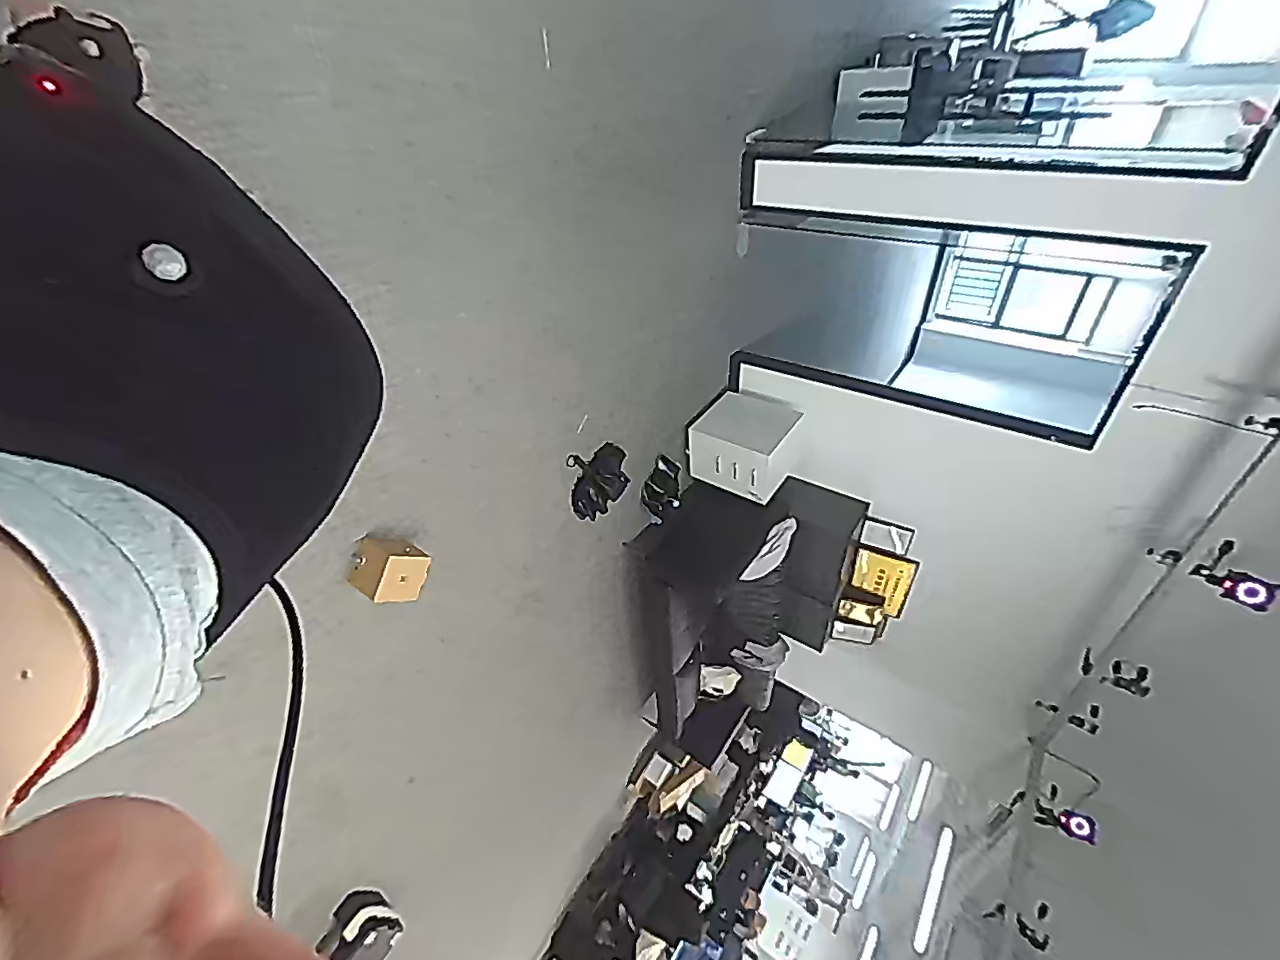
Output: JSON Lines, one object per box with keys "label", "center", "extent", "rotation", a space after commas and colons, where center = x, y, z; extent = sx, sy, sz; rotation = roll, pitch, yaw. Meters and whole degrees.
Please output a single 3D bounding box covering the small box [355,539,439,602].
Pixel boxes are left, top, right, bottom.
{"label": "small box", "center": [-0.843, 0.310, 1.875], "extent": [0.179, 0.176, 0.168], "rotation": [16, 94, -59]}
